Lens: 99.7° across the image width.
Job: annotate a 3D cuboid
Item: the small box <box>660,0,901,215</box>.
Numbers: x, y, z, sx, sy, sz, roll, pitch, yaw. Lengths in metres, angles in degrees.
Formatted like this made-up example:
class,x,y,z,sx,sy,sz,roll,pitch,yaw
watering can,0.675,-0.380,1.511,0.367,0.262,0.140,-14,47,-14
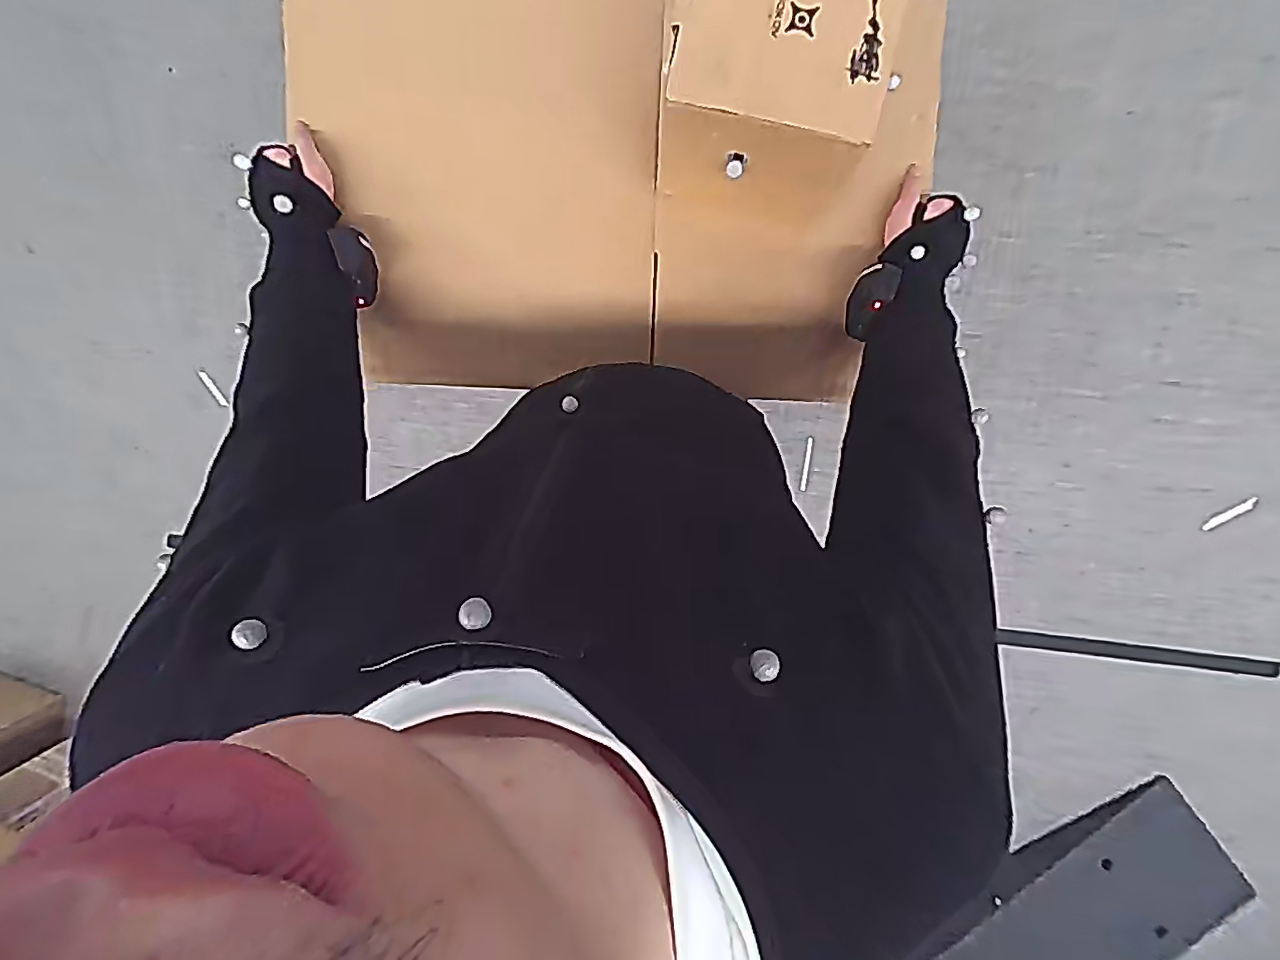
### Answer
class,x,y,z,sx,sy,sz,roll,pitch,yaw
small box,0.122,-0.378,0.516,0.179,0.176,0.168,13,95,2
